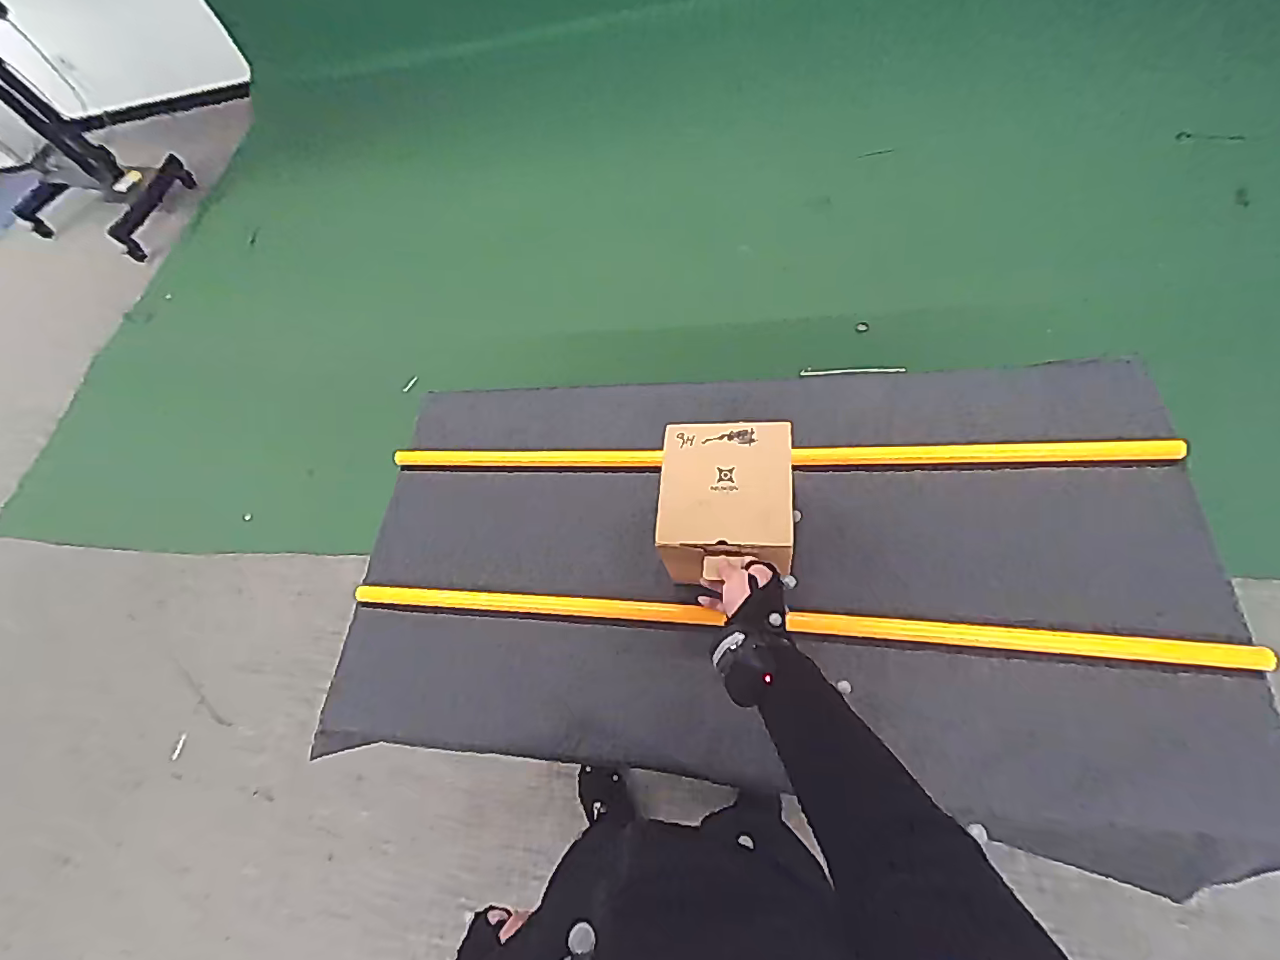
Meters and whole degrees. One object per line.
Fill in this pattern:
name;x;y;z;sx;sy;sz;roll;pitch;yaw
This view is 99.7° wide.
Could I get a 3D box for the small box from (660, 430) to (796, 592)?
small box;0.127;0.053;0.752;0.168;0.176;0.179;-4;61;13
